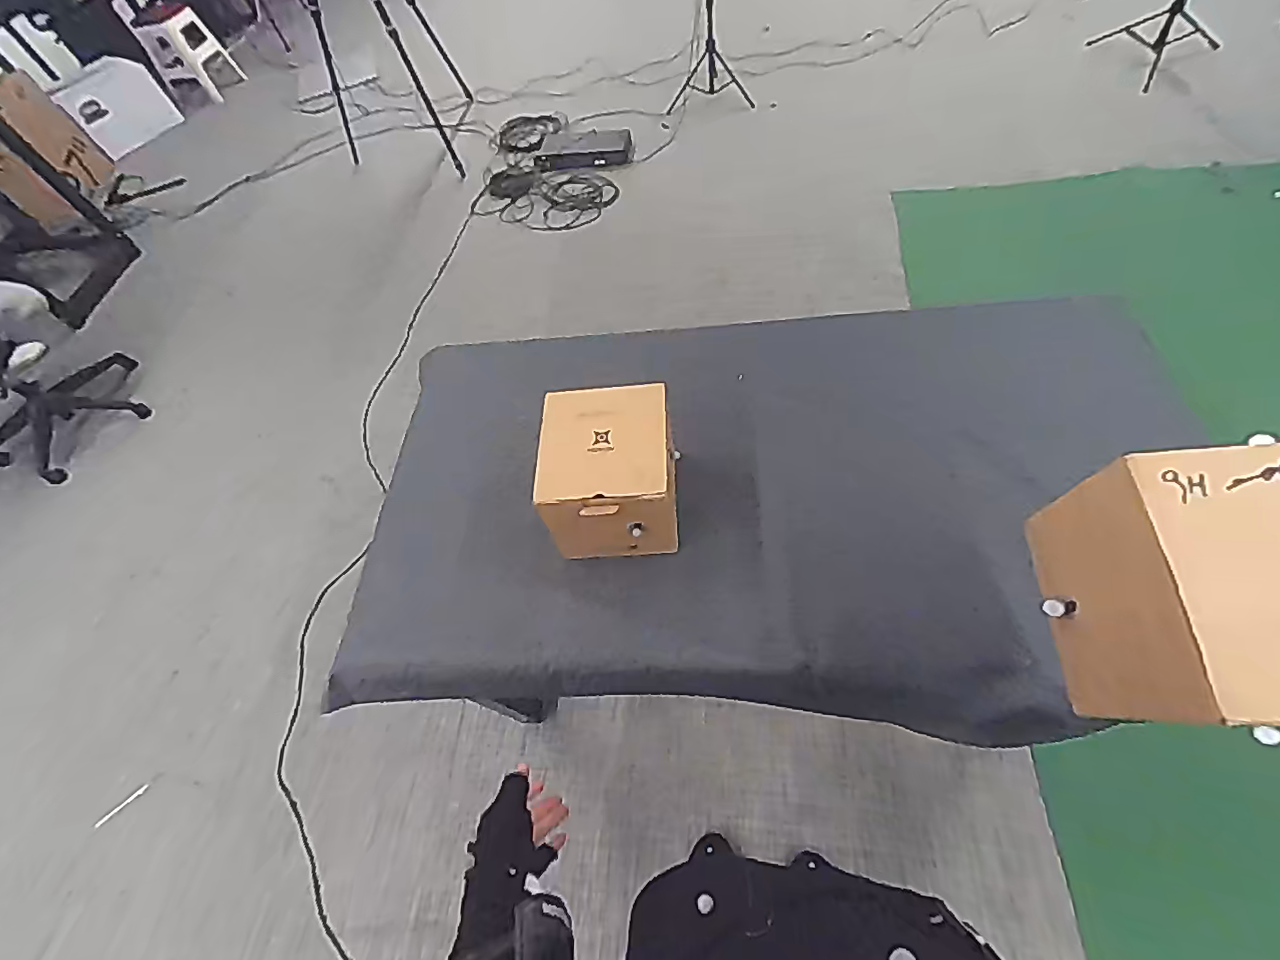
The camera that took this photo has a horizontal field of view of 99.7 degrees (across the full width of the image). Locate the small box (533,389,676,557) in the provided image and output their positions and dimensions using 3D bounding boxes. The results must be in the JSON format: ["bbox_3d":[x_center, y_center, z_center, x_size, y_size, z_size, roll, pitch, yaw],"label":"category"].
[{"bbox_3d":[-0.039,-0.001,0.750,0.168,0.176,0.179,-4,56,5],"label":"small box"}]
